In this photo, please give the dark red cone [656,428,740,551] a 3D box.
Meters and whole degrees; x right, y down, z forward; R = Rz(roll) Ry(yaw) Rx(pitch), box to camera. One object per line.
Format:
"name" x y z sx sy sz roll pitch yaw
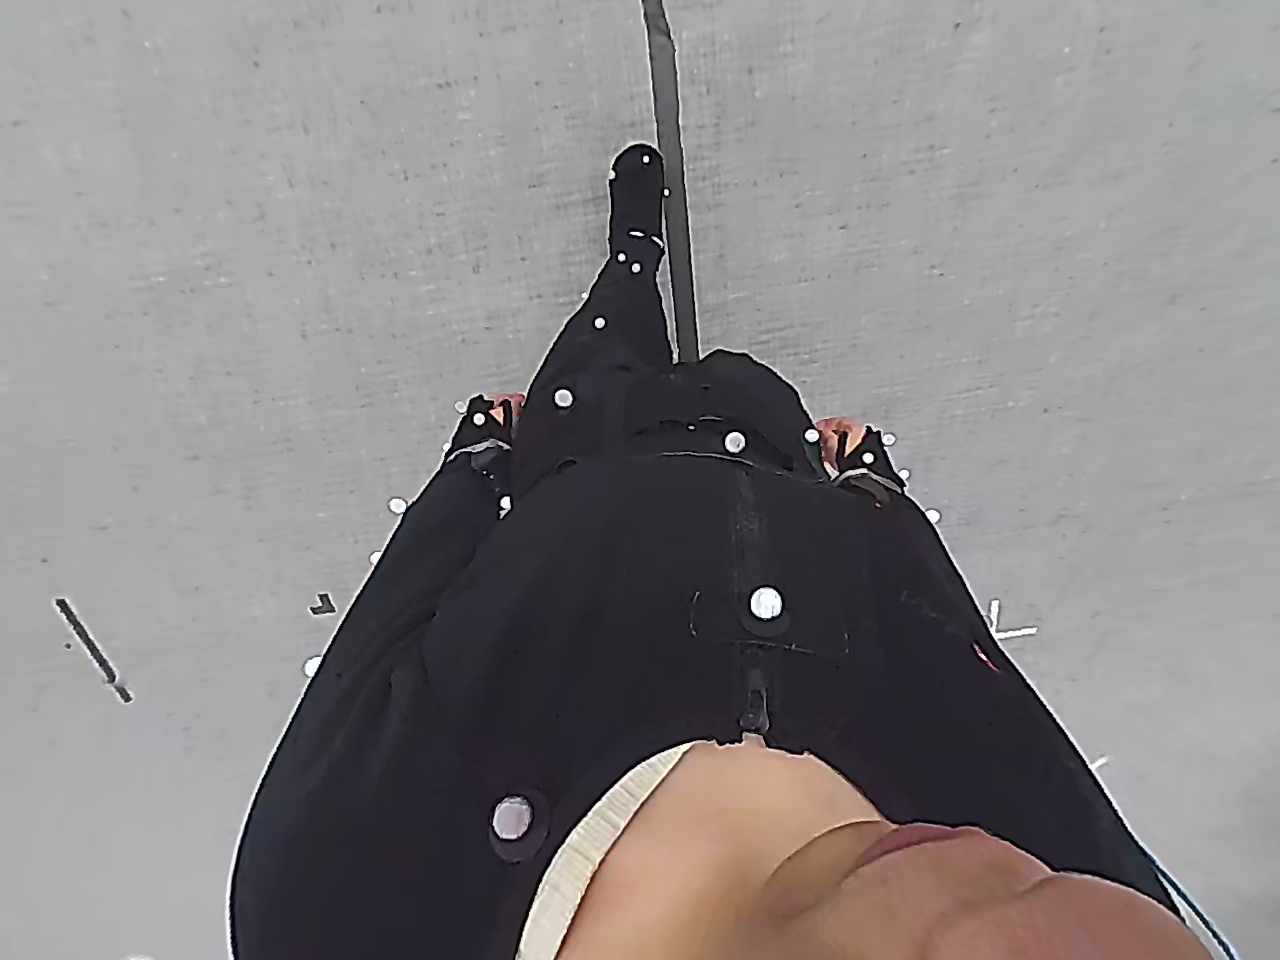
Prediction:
"dark red cone" 0.151 0.037 1.226 0.201 0.394 0.202 -8 115 3
